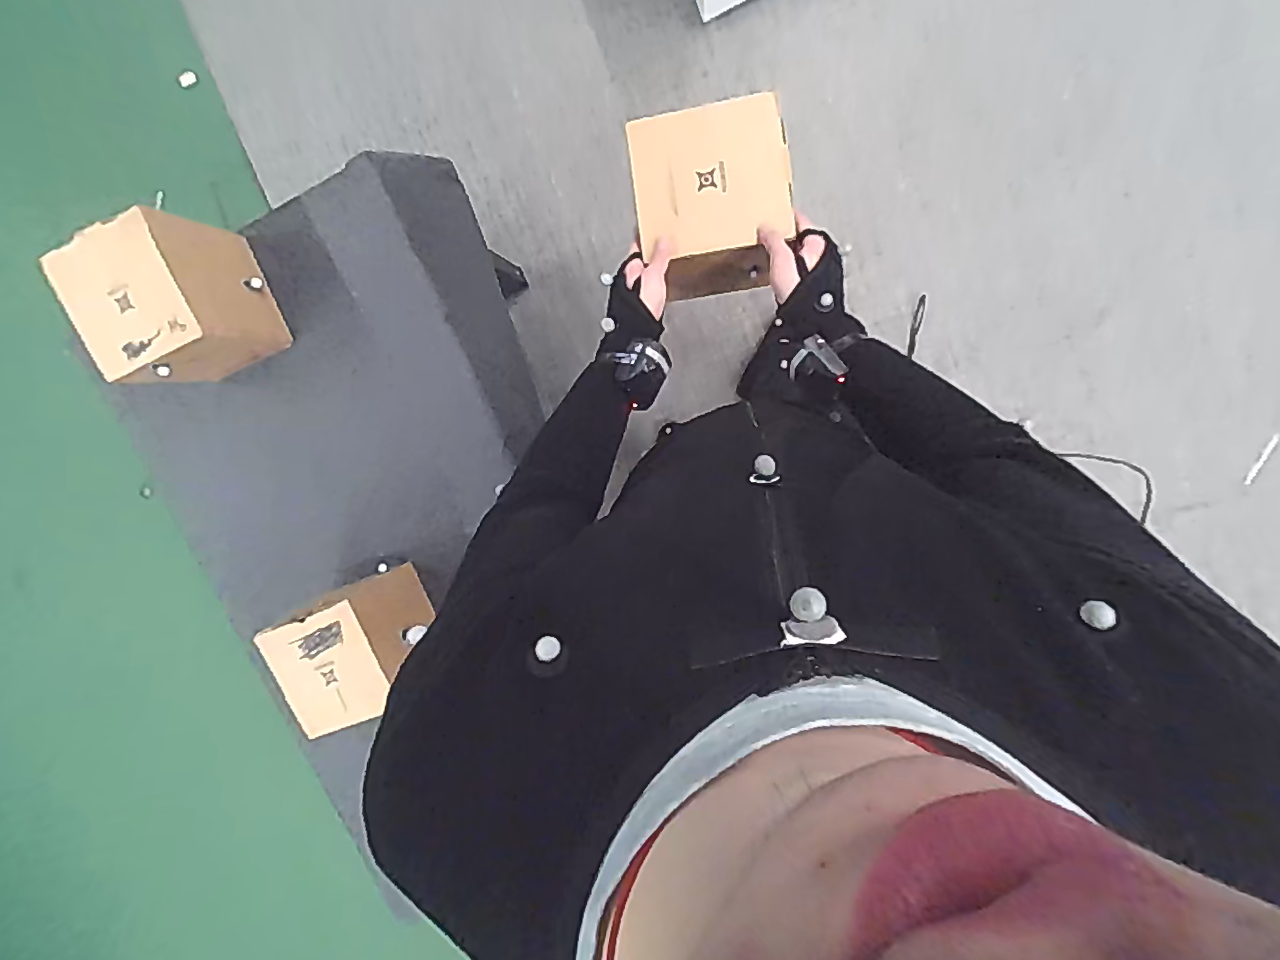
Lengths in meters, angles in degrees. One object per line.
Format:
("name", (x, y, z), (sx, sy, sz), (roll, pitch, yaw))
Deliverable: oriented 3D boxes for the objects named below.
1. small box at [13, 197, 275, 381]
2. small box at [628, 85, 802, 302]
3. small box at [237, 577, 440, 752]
("small box", (-0.662, -0.246, 0.745), (0.168, 0.176, 0.179), (-21, 97, 8))
("small box", (0.090, -0.337, 0.673), (0.179, 0.176, 0.168), (-8, 90, 7))
("small box", (-0.438, 0.262, 0.815), (0.168, 0.176, 0.179), (-21, 98, 8))
